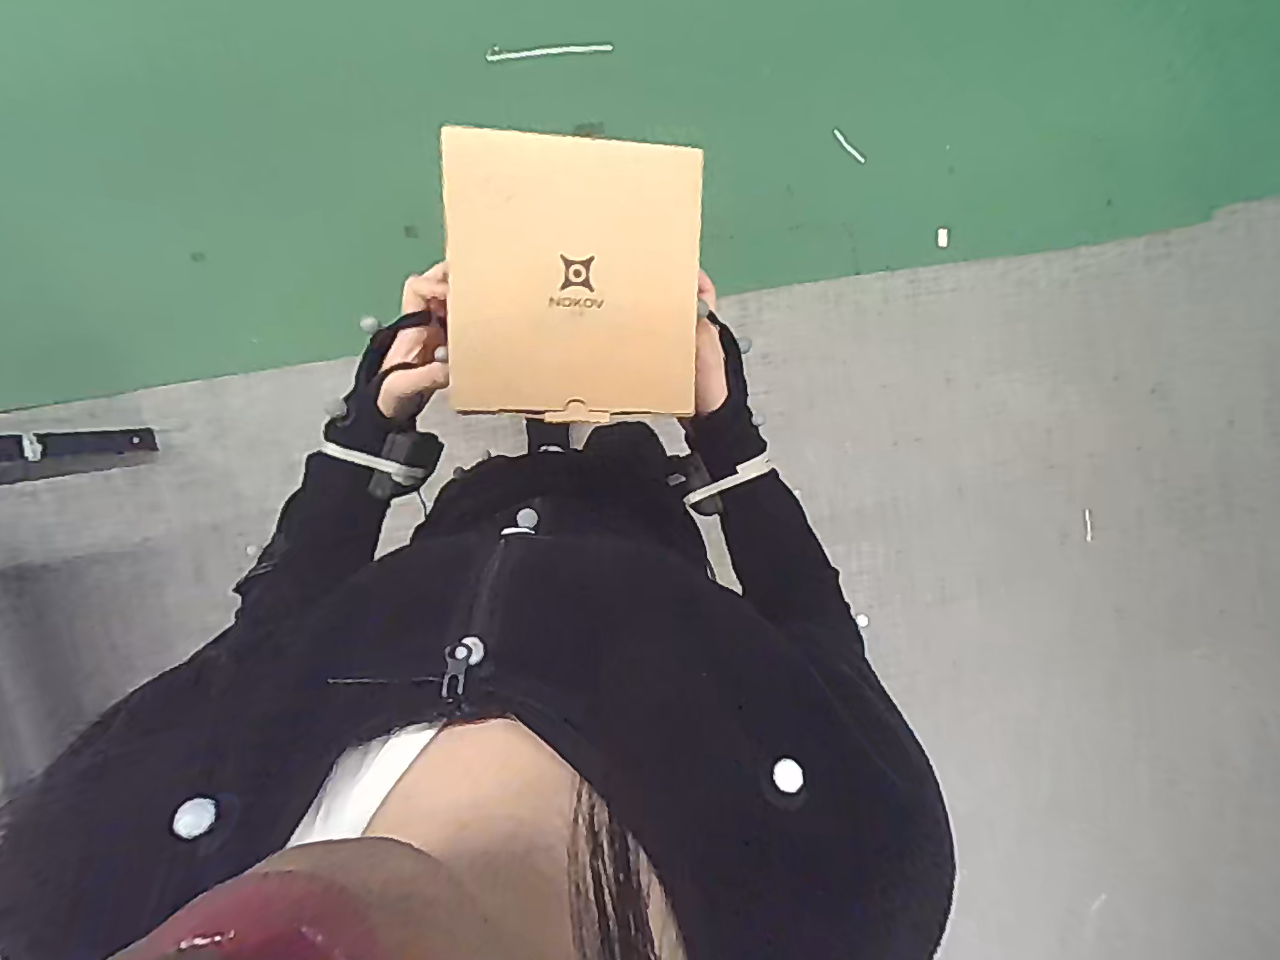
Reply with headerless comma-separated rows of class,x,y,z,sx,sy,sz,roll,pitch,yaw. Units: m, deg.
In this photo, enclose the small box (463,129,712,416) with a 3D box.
small box,-0.047,-0.144,0.438,0.168,0.176,0.179,0,99,-10
